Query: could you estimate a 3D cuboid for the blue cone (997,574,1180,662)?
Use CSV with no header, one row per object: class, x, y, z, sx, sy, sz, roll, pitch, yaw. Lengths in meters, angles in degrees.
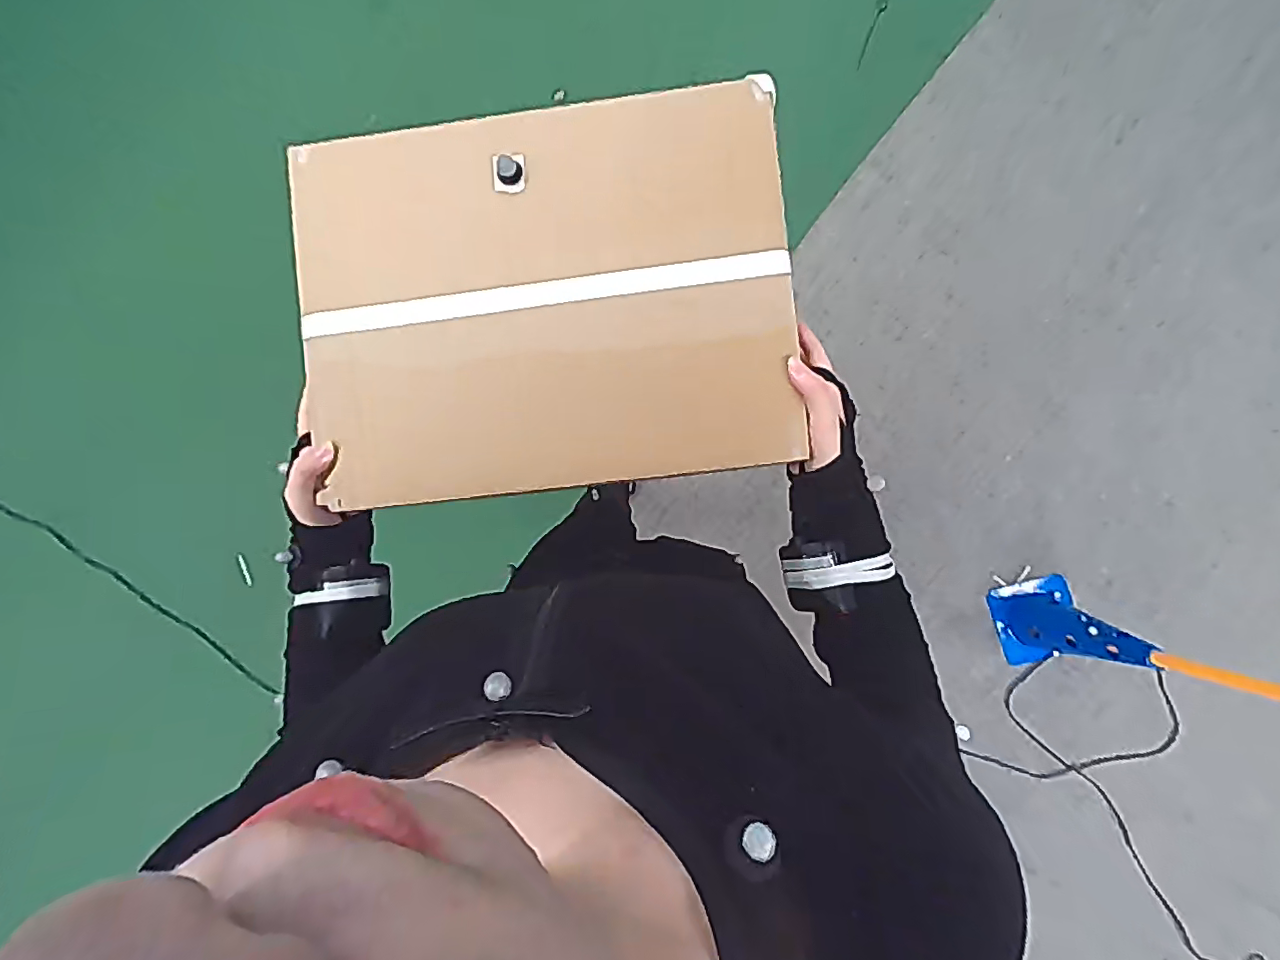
blue cone,1.005,0.339,1.204,0.192,0.380,0.193,-18,85,3
